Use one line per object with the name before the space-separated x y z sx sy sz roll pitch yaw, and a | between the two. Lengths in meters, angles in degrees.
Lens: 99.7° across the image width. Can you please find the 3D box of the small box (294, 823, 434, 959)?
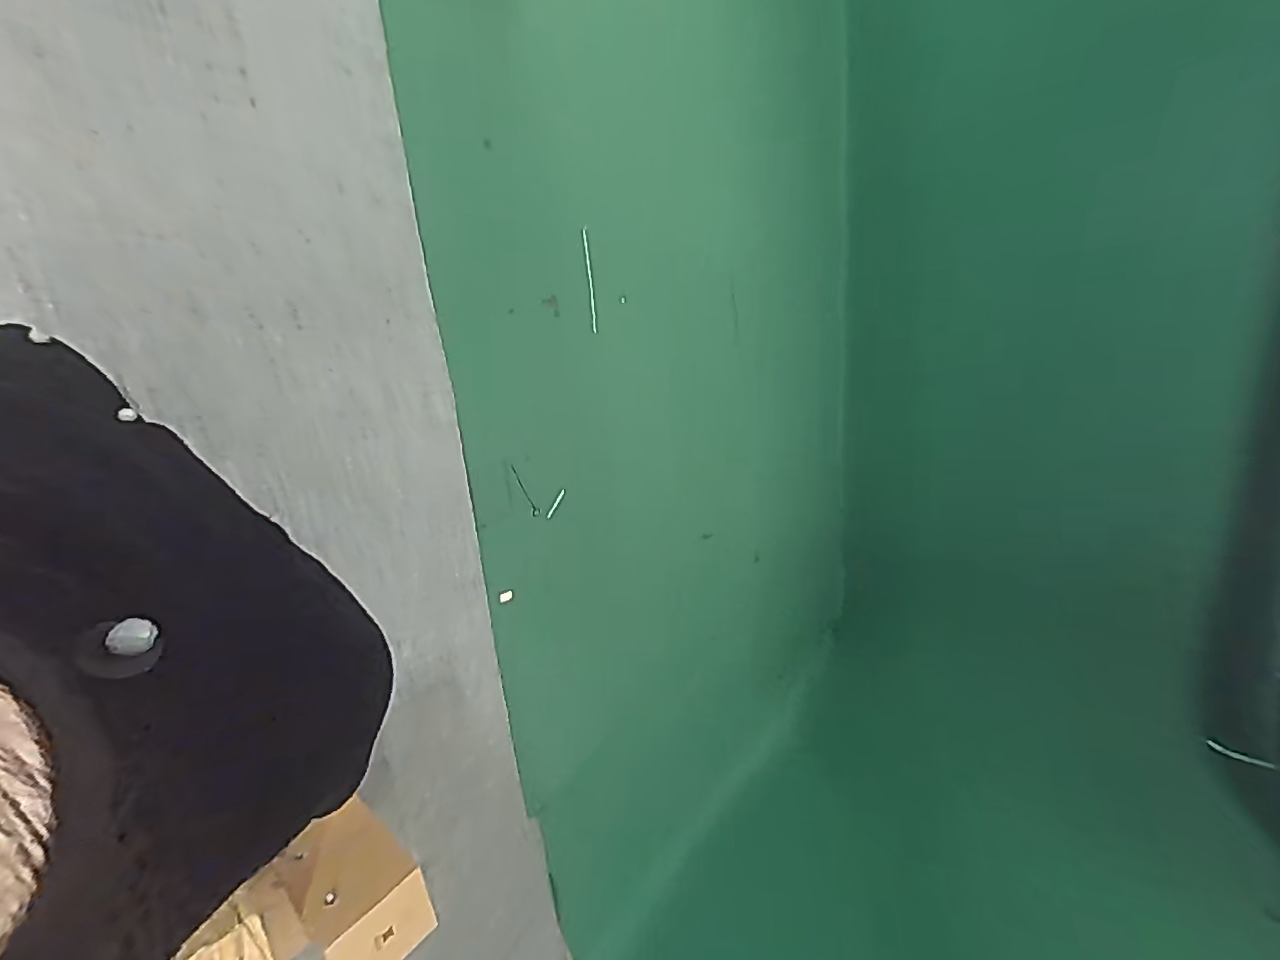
small box | -0.530 0.815 1.033 0.179 0.176 0.168 -25 117 -46

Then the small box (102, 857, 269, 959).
small box | -0.688 0.740 0.830 0.168 0.176 0.179 -19 110 -45
